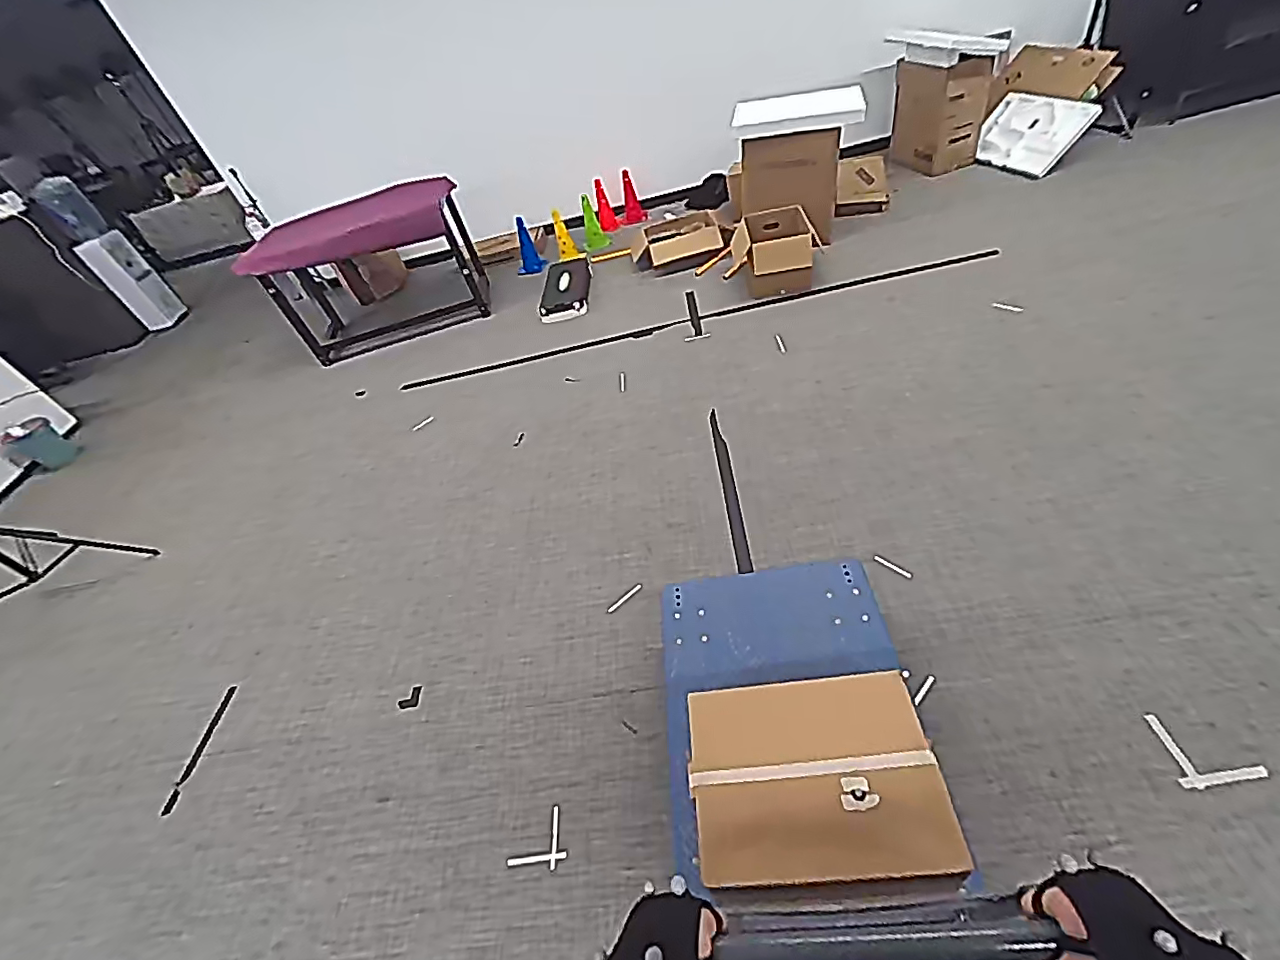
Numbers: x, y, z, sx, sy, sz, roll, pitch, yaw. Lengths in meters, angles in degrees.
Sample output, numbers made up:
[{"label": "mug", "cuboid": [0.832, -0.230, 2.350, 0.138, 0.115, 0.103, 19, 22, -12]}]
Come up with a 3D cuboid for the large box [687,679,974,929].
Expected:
[{"label": "large box", "cuboid": [0.318, 0.611, 1.013, 0.408, 0.320, 0.320, -9, 44, 8]}]
